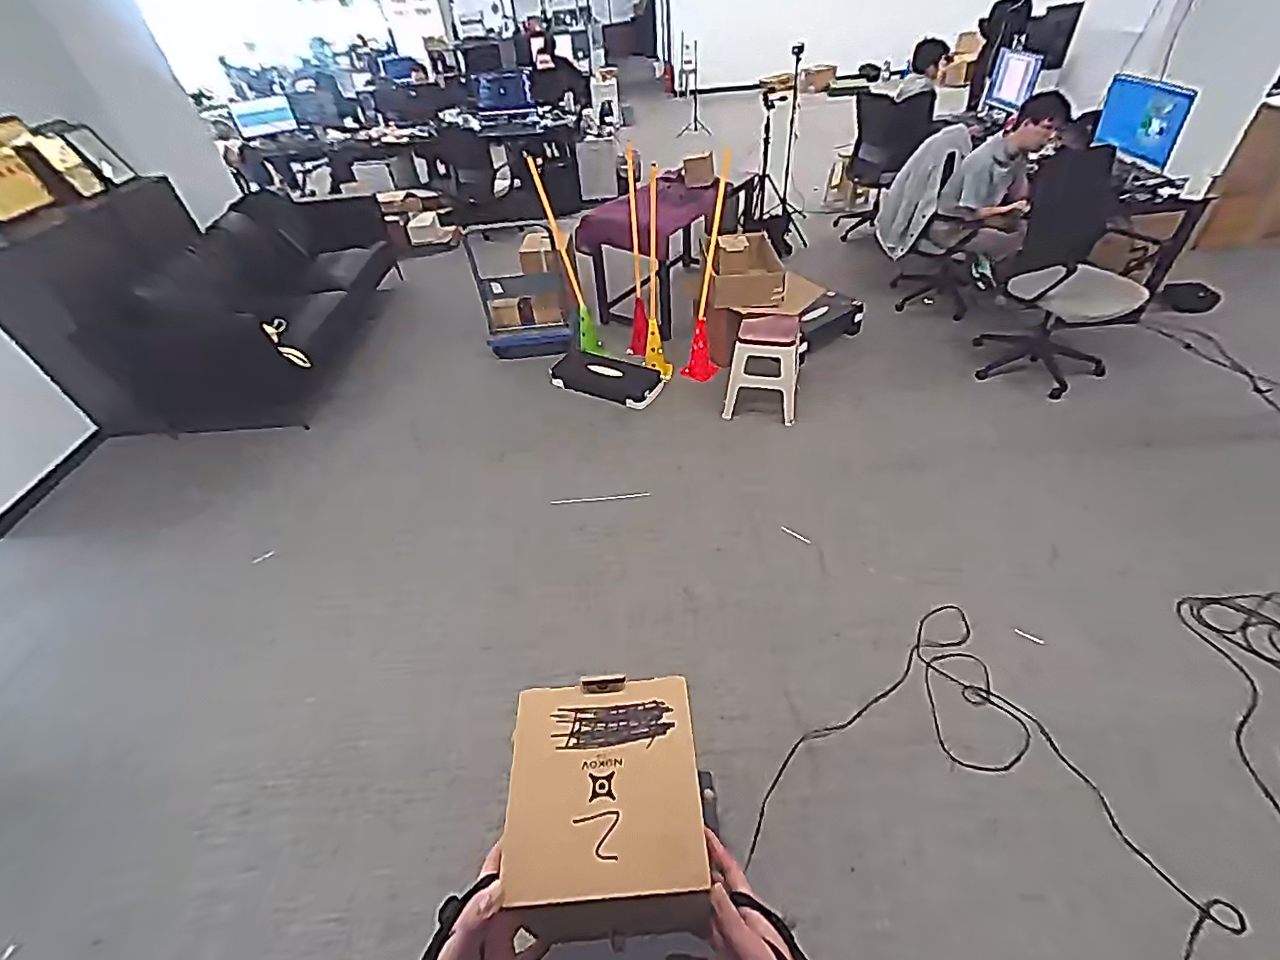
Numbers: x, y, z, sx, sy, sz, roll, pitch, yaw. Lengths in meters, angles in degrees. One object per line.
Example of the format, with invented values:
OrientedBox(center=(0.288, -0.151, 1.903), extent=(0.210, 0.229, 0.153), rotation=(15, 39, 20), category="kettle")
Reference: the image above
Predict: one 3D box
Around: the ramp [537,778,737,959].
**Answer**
OrientedBox(center=(-0.009, 1.204, 1.244), extent=(0.509, 0.206, 0.991), rotation=(-7, 42, 1), category="ramp")
